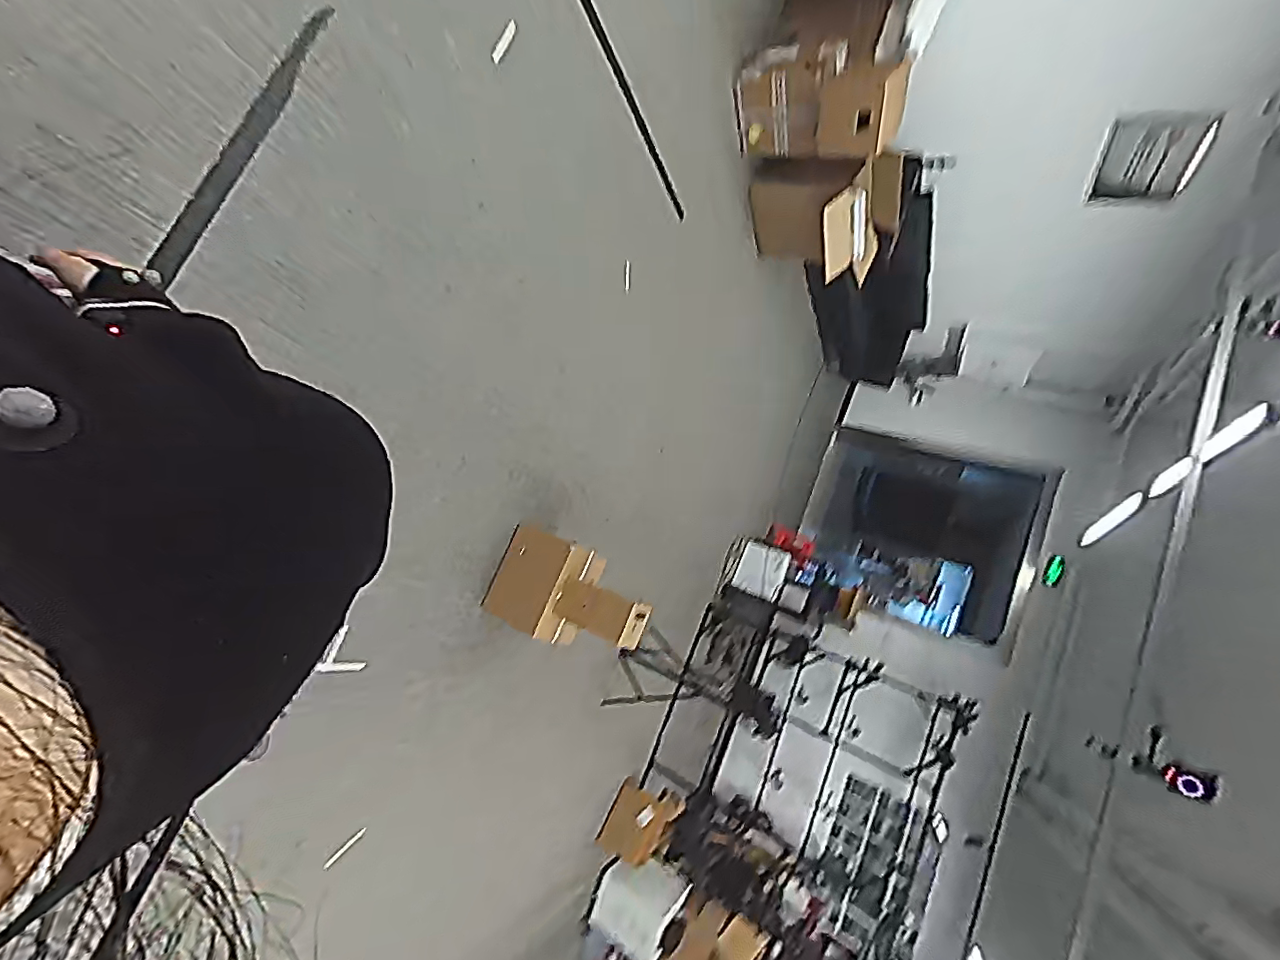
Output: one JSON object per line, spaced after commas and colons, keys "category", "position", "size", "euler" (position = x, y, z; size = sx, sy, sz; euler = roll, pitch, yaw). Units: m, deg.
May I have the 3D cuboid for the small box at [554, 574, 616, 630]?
{"category": "small box", "position": [-0.231, 0.503, 2.244], "size": [0.168, 0.176, 0.179], "euler": [35, 75, -58]}
